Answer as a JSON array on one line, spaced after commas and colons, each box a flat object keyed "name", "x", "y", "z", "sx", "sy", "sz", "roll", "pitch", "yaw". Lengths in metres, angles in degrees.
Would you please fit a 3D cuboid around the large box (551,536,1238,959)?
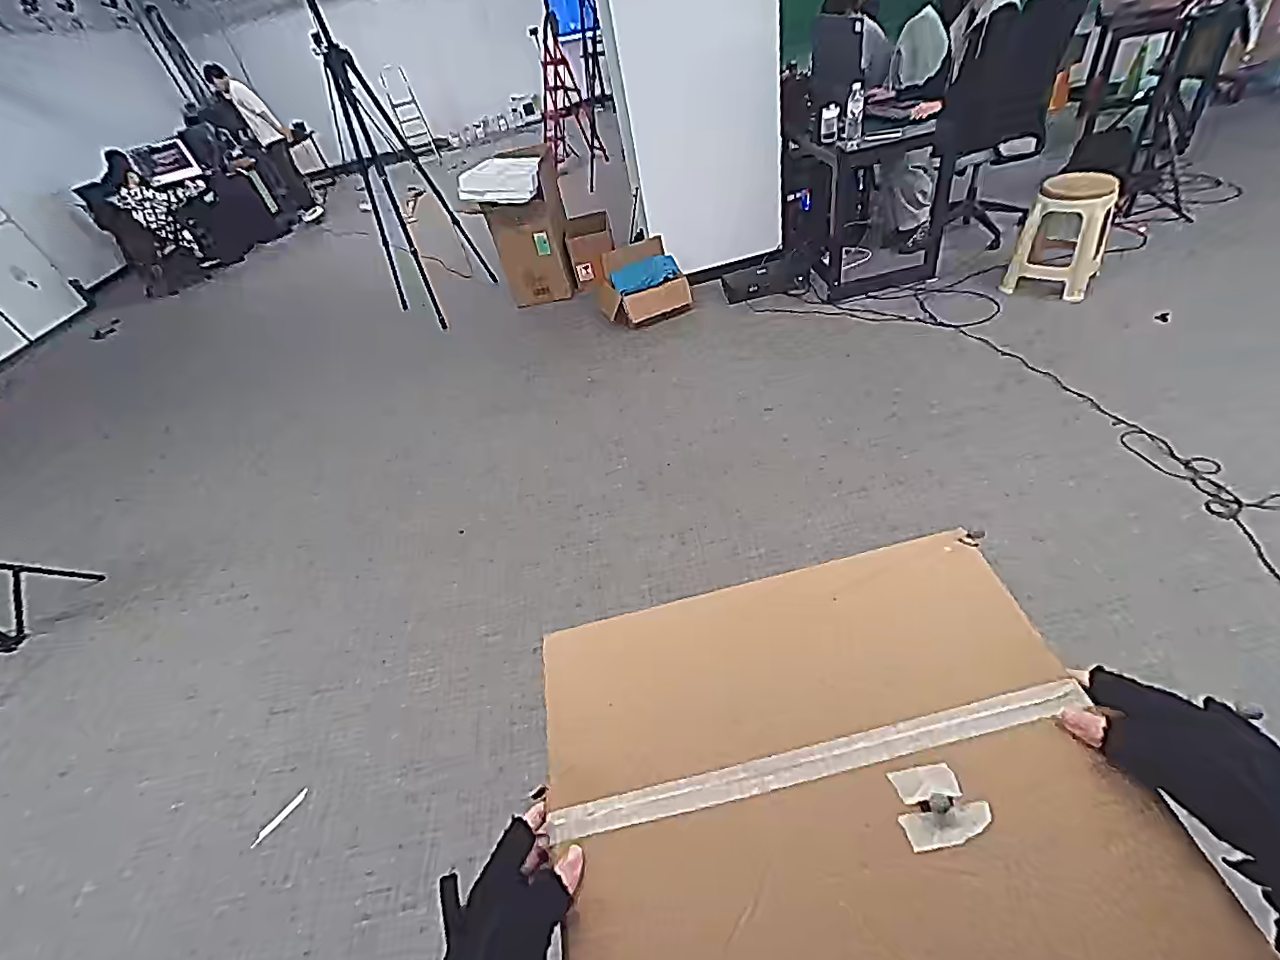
[{"name": "large box", "x": 0.159, "y": 0.310, "z": 0.525, "sx": 0.408, "sy": 0.320, "sz": 0.320, "roll": -15, "pitch": 49, "yaw": 0}]
